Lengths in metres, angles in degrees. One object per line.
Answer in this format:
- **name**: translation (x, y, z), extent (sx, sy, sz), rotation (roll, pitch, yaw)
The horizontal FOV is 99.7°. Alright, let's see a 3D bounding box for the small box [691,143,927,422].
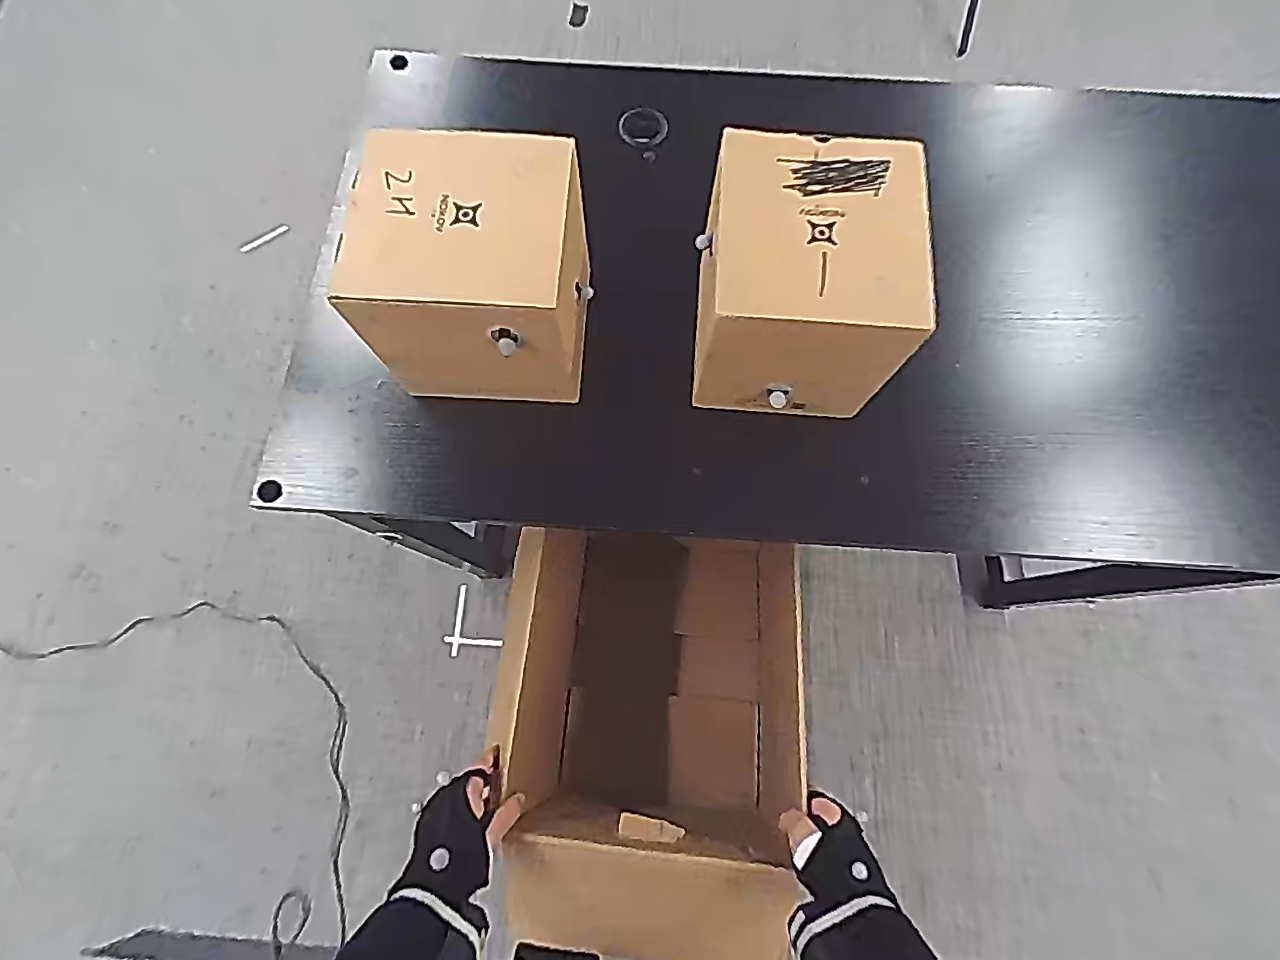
- **small box**: translation (0.140, -0.172, 0.507), extent (0.168, 0.176, 0.179), rotation (4, 74, 1)

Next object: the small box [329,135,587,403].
- **small box**: translation (-0.145, -0.181, 0.505), extent (0.179, 0.176, 0.168), rotation (3, 73, 0)
